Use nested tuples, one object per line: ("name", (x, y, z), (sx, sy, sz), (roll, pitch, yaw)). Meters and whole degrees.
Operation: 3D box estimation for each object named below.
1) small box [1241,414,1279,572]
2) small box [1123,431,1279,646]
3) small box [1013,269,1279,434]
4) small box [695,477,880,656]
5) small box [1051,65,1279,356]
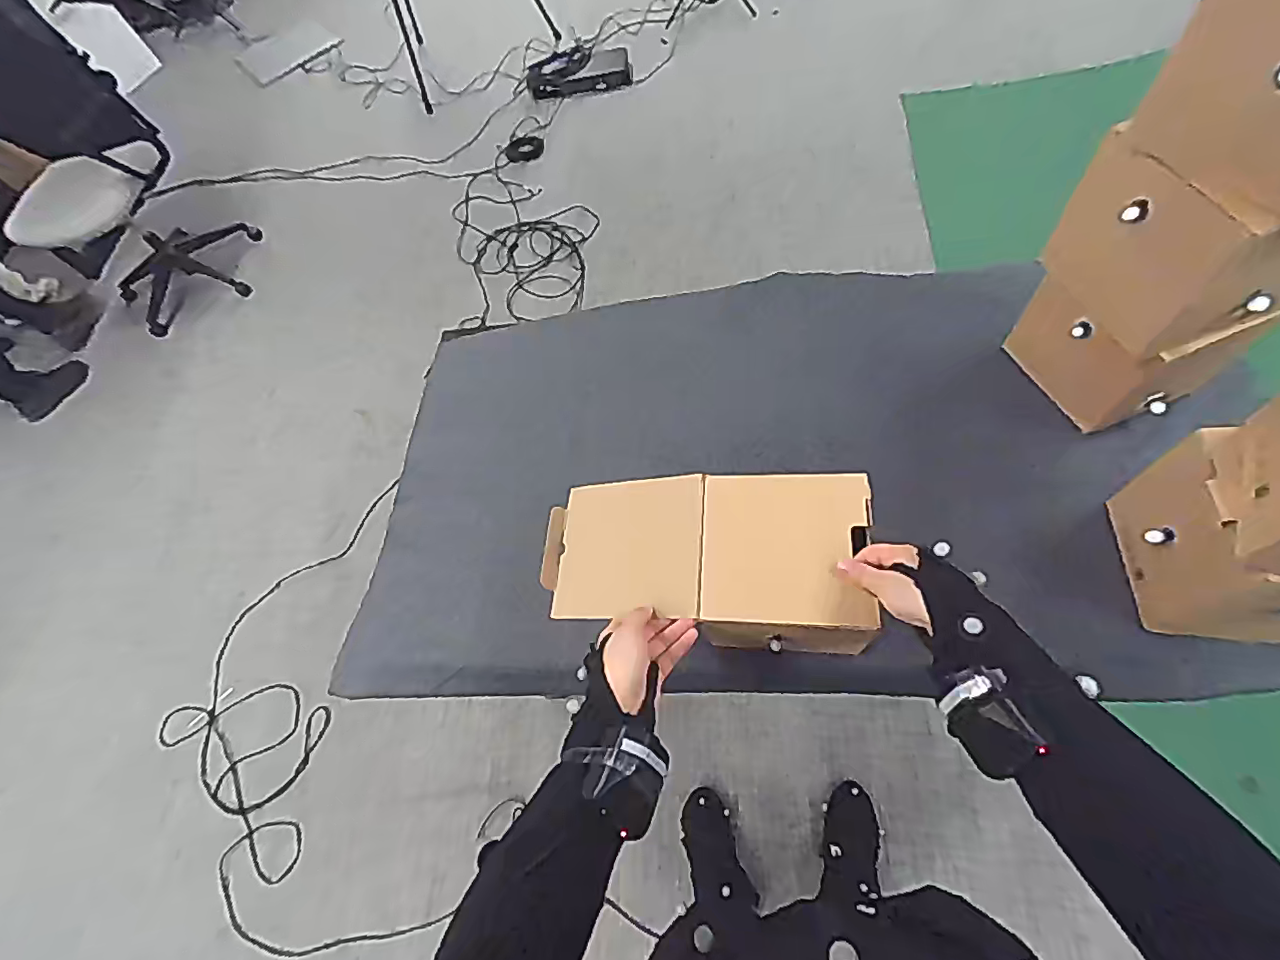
("small box", (0.617, -0.001, 0.400), (0.179, 0.176, 0.168), (23, 67, 21))
("small box", (0.642, 0.066, 0.548), (0.179, 0.176, 0.168), (2, 61, 13))
("small box", (0.626, -0.190, 0.686), (0.168, 0.176, 0.179), (-24, 63, 2))
("small box", (0.166, 0.105, 0.623), (0.179, 0.176, 0.168), (-1, 64, 16))
("small box", (0.572, -0.260, 0.545), (0.168, 0.176, 0.179), (-20, 62, 5))
